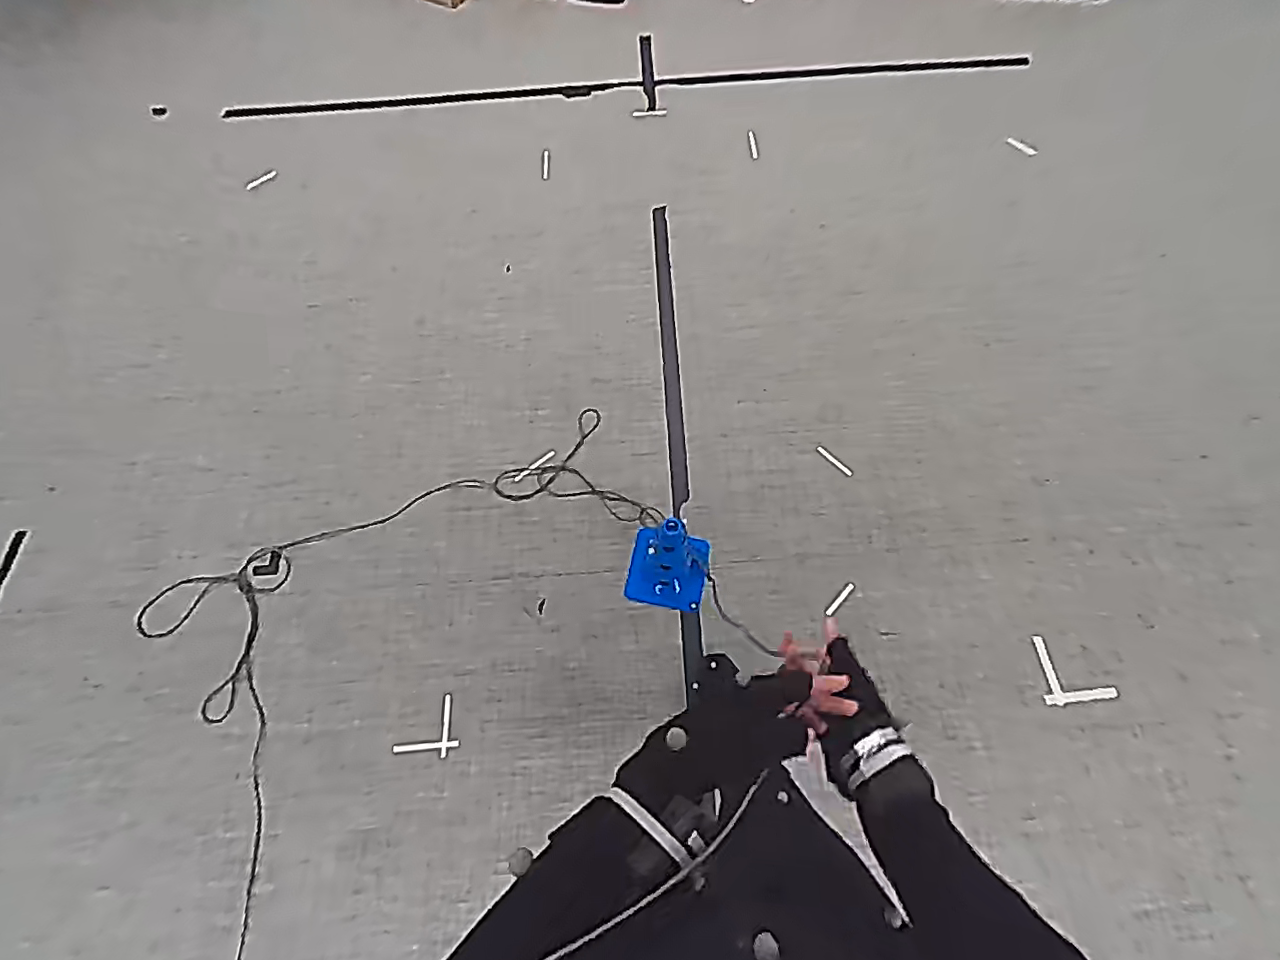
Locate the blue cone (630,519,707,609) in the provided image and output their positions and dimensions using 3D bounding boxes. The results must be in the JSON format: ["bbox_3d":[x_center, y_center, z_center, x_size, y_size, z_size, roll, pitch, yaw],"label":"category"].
[{"bbox_3d":[0.075,0.168,1.276,0.192,0.380,0.193,12,67,5],"label":"blue cone"}]
